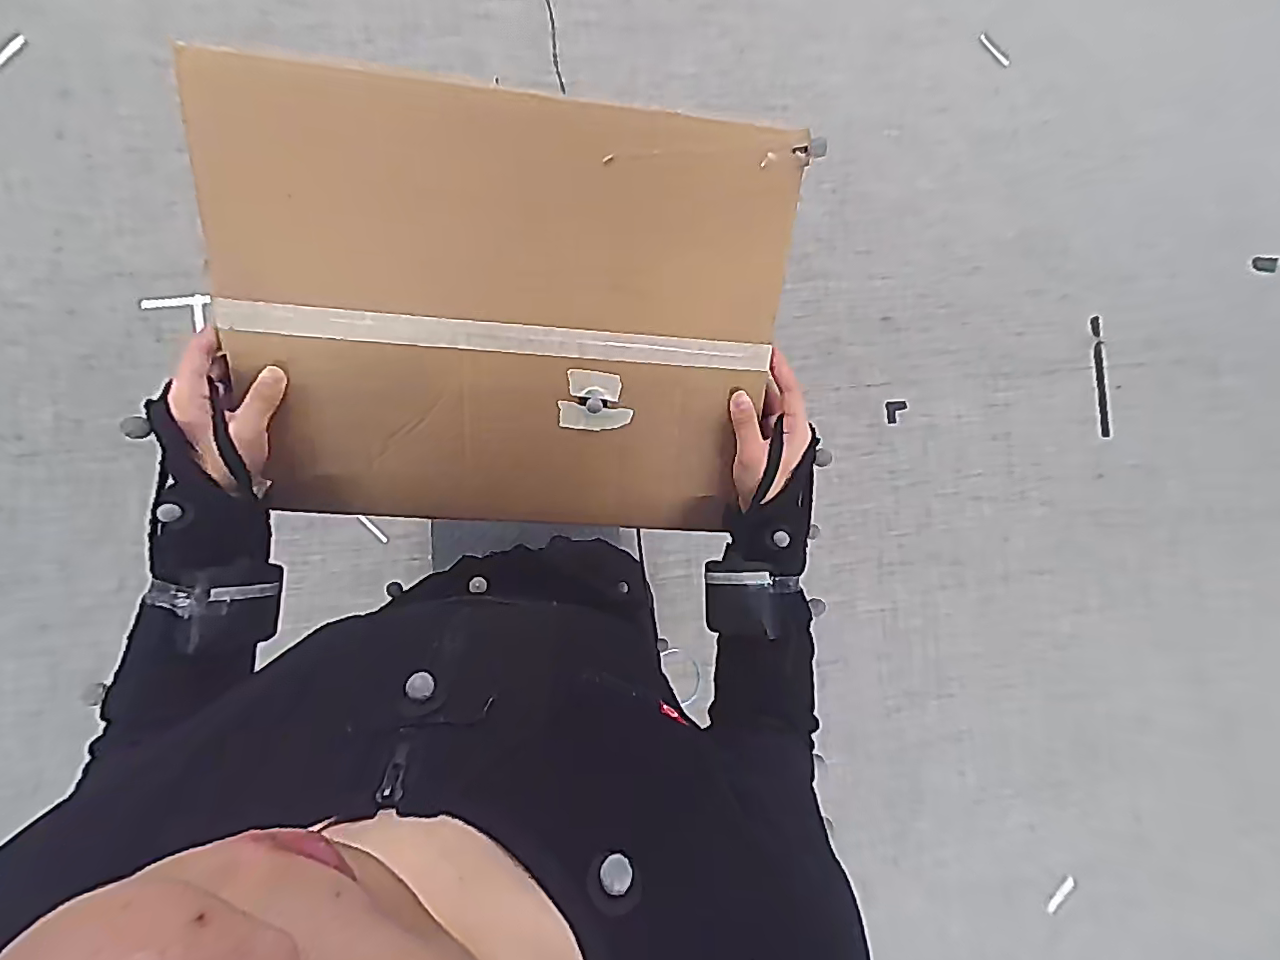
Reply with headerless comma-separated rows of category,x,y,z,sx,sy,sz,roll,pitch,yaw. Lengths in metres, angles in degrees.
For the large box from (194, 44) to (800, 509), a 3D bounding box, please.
large box,-0.110,-0.177,0.549,0.408,0.320,0.320,3,113,-7
